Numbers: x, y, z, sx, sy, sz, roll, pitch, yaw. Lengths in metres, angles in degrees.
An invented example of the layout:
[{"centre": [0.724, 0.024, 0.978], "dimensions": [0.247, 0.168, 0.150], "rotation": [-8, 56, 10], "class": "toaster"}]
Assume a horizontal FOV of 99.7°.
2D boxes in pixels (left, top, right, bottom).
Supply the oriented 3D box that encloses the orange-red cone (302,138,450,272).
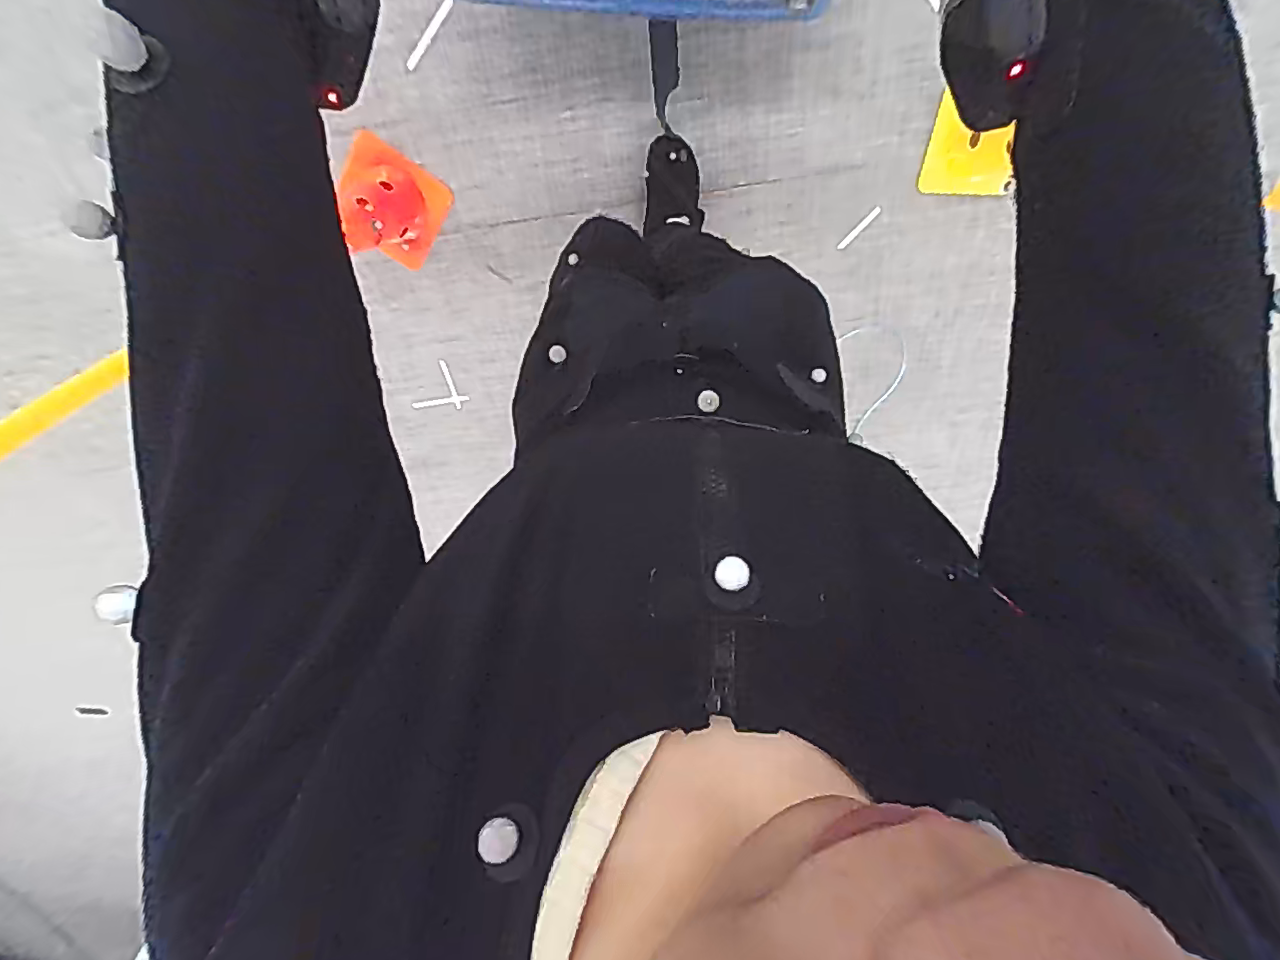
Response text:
[{"centre": [-0.512, -0.459, 0.978], "dimensions": [0.198, 0.360, 0.199], "rotation": [31, 119, -23], "class": "orange-red cone"}]
